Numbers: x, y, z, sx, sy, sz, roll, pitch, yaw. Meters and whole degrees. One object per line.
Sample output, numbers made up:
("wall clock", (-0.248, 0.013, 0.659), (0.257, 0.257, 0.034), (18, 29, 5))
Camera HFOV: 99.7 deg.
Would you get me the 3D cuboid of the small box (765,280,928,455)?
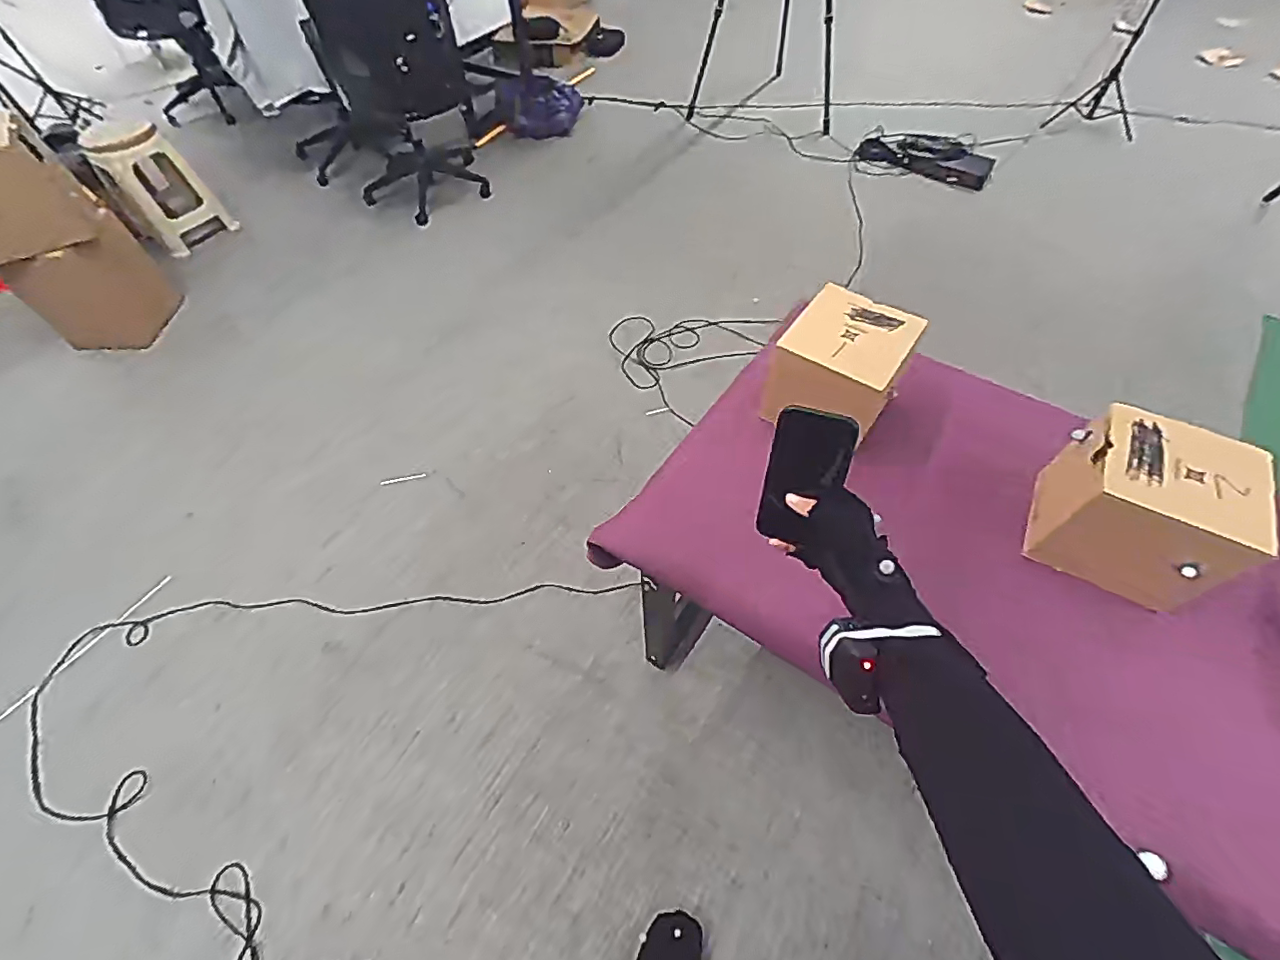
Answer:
("small box", (0.316, -0.176, 0.860), (0.168, 0.176, 0.179), (31, 64, 21))
